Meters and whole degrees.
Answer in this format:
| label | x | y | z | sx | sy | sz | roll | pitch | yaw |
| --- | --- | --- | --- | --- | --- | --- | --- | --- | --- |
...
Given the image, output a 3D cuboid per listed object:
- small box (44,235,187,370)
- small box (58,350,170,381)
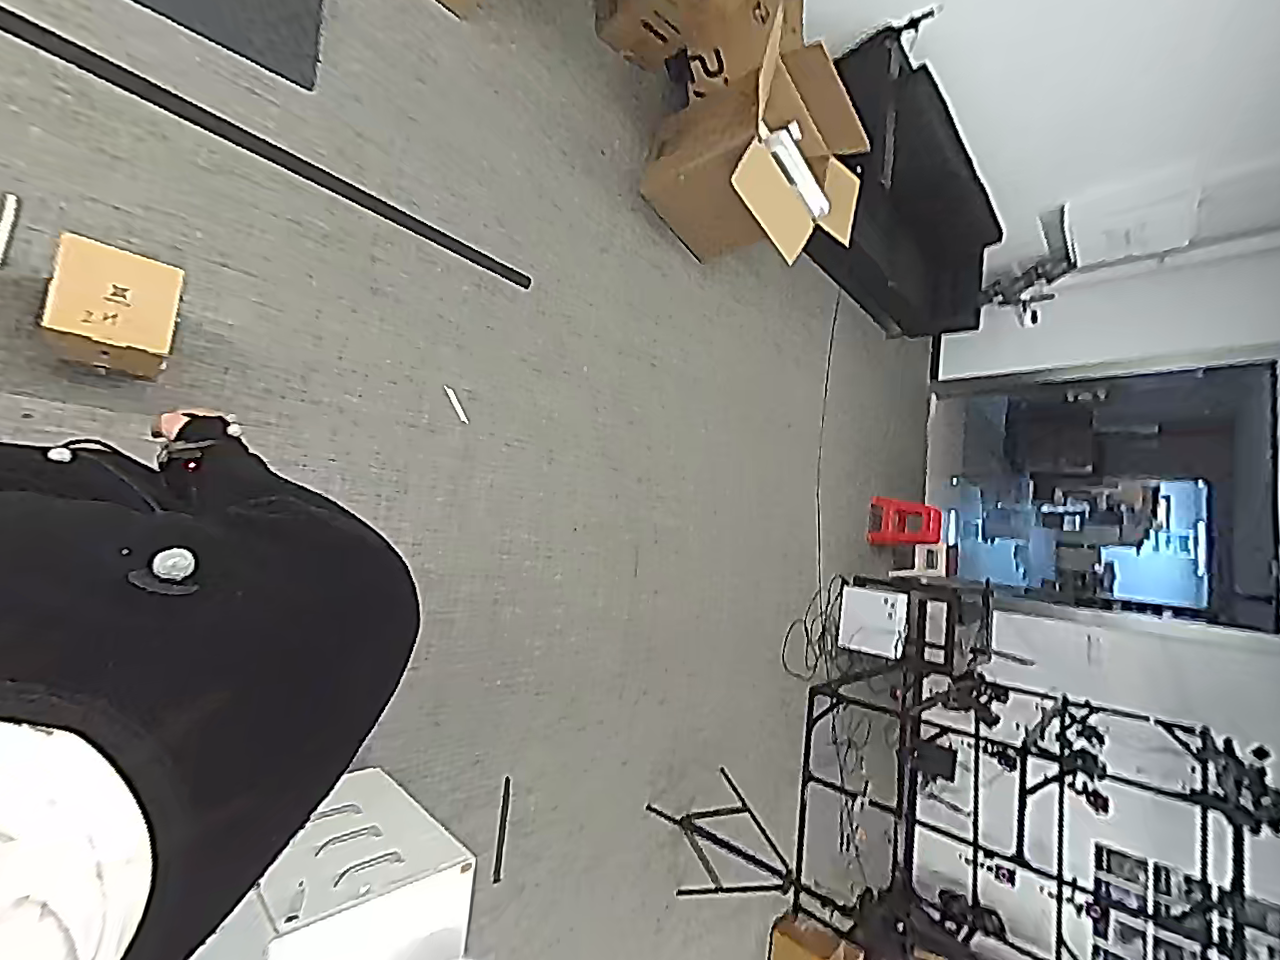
| label | x | y | z | sx | sy | sz | roll | pitch | yaw |
| --- | --- | --- | --- | --- | --- | --- | --- | --- | --- |
| small box | -0.994 | -0.324 | 1.027 | 0.168 | 0.176 | 0.179 | 12 | 82 | -45 |
| small box | -1.107 | -0.321 | 1.148 | 0.168 | 0.176 | 0.179 | 10 | 84 | -45 |
